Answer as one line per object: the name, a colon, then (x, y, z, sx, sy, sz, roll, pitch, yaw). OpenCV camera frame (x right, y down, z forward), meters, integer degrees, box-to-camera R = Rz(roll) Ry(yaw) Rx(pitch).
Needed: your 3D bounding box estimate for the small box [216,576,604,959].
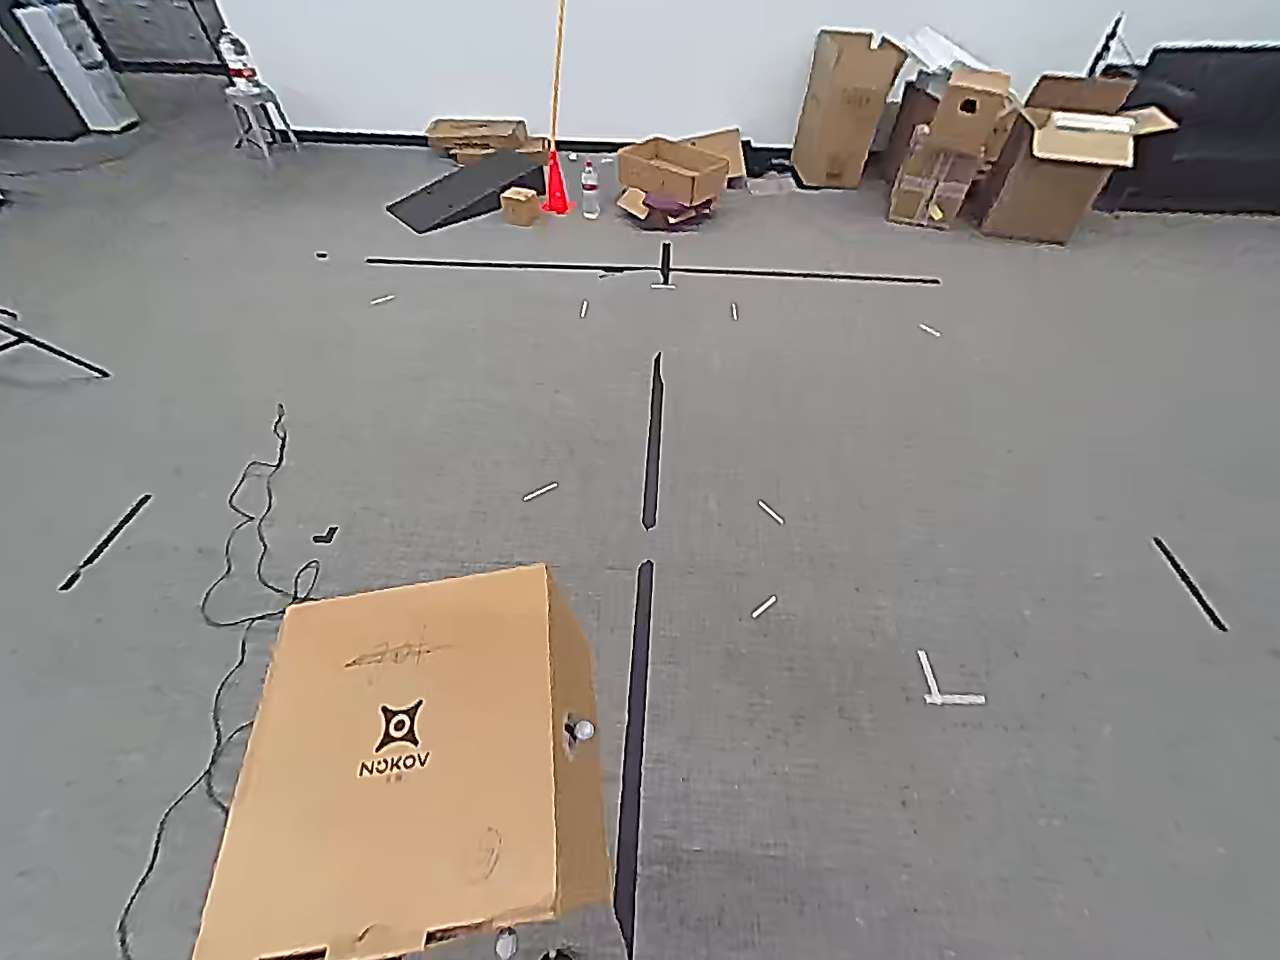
small box: (-0.121, 0.189, 0.363, 0.168, 0.176, 0.179, -9, 53, -1)
